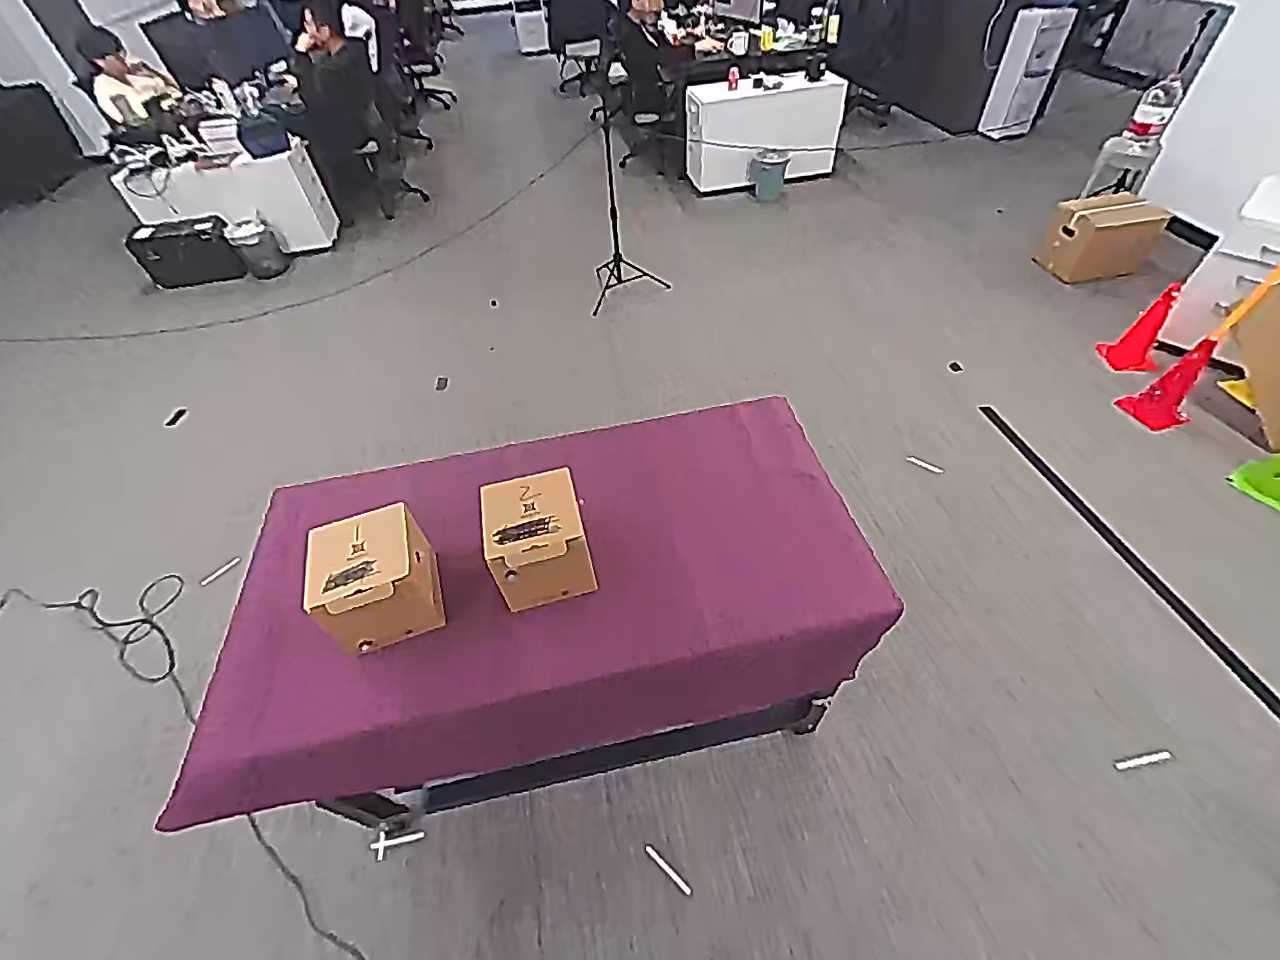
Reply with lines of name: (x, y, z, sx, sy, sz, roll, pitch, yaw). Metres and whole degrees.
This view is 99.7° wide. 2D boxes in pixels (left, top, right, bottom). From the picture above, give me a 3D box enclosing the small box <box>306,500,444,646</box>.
small box: (-0.462, 0.172, 0.960, 0.168, 0.176, 0.179, -18, 49, -11)
